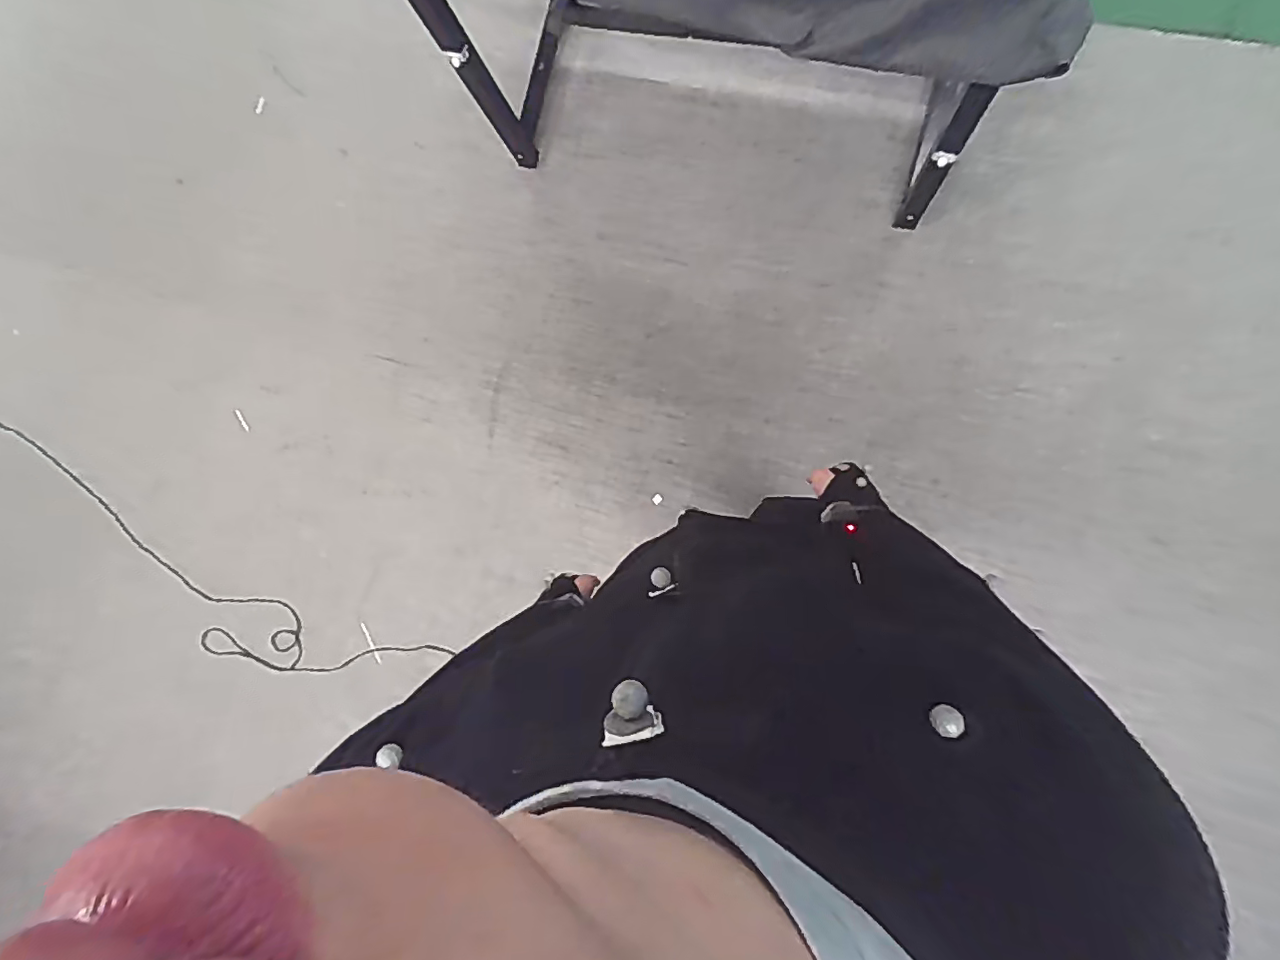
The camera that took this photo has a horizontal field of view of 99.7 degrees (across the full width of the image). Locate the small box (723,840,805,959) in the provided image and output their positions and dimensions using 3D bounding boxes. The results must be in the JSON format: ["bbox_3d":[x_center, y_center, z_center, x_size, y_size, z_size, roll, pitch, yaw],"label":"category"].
[{"bbox_3d":[0.317,1.090,1.401,0.168,0.176,0.179,14,89,10],"label":"small box"}]
